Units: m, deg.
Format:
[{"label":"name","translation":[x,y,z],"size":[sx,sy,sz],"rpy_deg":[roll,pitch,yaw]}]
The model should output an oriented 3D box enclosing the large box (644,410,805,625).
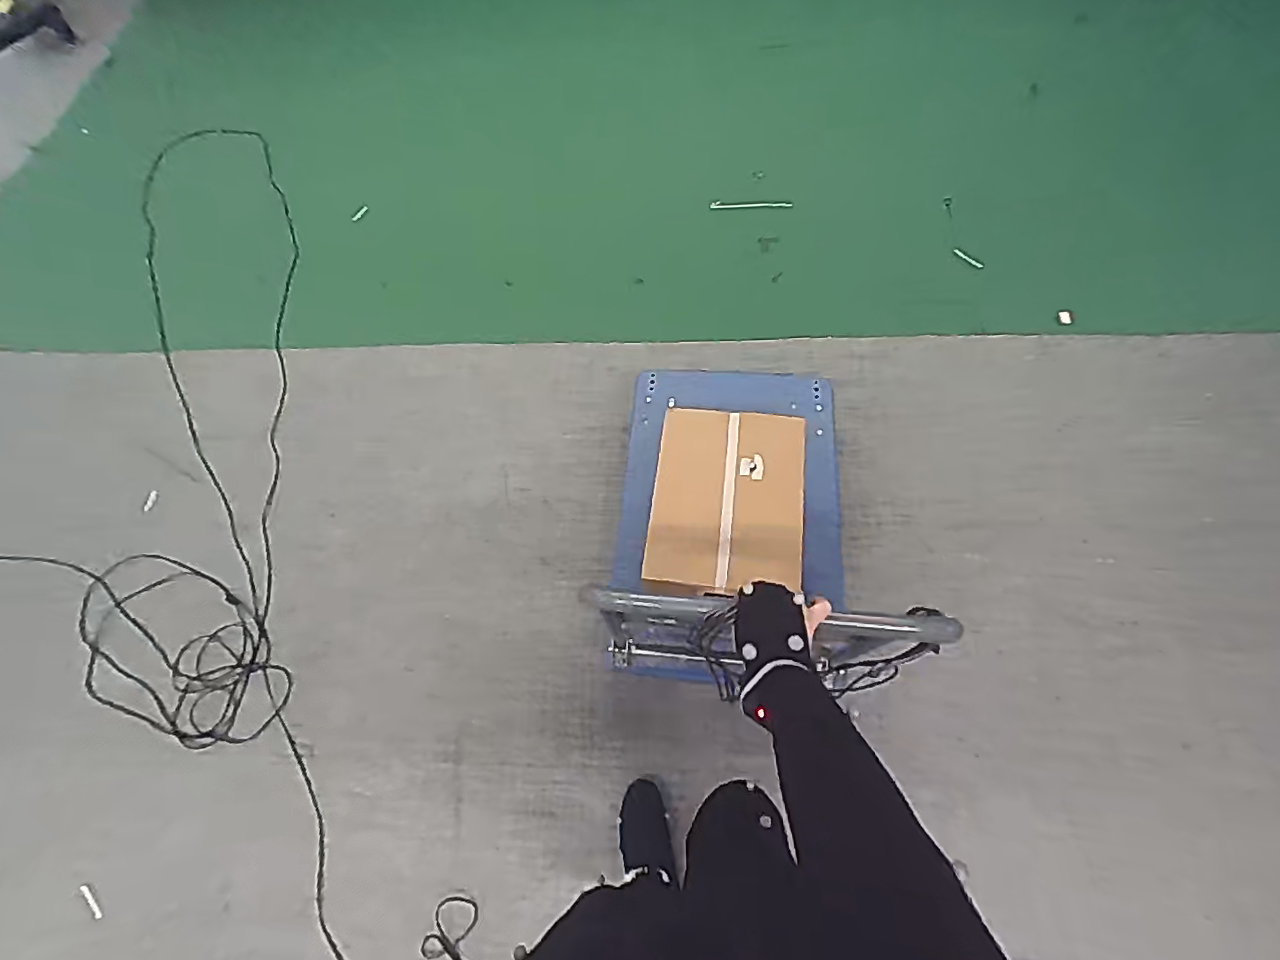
[{"label":"large box","translation":[0.197,0.097,1.259],"size":[0.320,0.320,0.408],"rpy_deg":[6,65,7]}]
